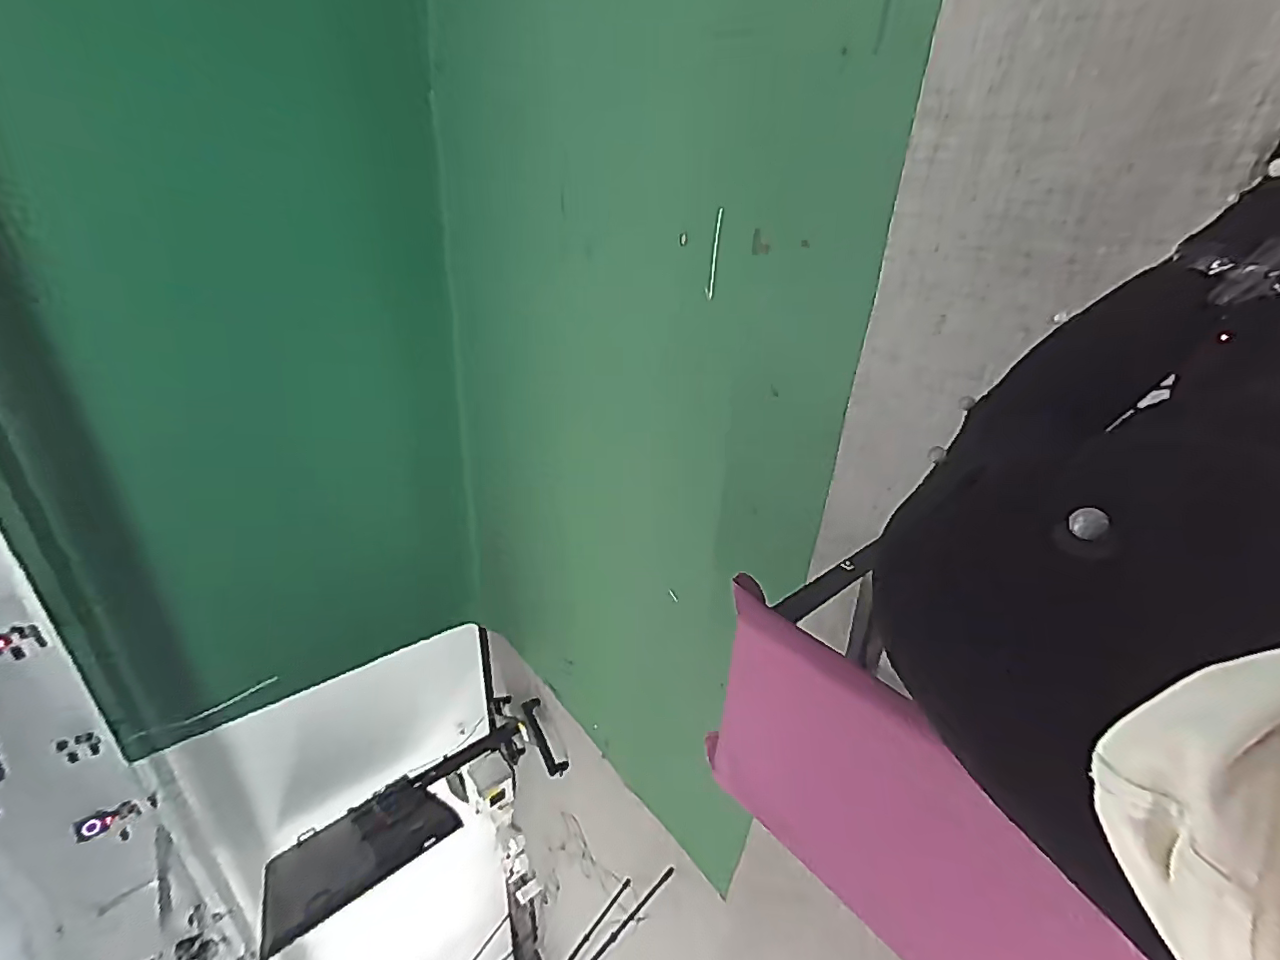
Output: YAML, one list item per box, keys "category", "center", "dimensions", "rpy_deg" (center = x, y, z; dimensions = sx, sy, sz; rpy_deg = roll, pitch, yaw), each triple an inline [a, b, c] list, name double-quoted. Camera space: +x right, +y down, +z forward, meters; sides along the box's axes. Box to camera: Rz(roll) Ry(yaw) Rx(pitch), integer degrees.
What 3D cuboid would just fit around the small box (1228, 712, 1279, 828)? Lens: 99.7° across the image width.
- category: "small box"
  center: [1.371, 0.616, 1.105]
  dimensions: [0.179, 0.176, 0.168]
  rpy_deg: [28, 125, 43]
